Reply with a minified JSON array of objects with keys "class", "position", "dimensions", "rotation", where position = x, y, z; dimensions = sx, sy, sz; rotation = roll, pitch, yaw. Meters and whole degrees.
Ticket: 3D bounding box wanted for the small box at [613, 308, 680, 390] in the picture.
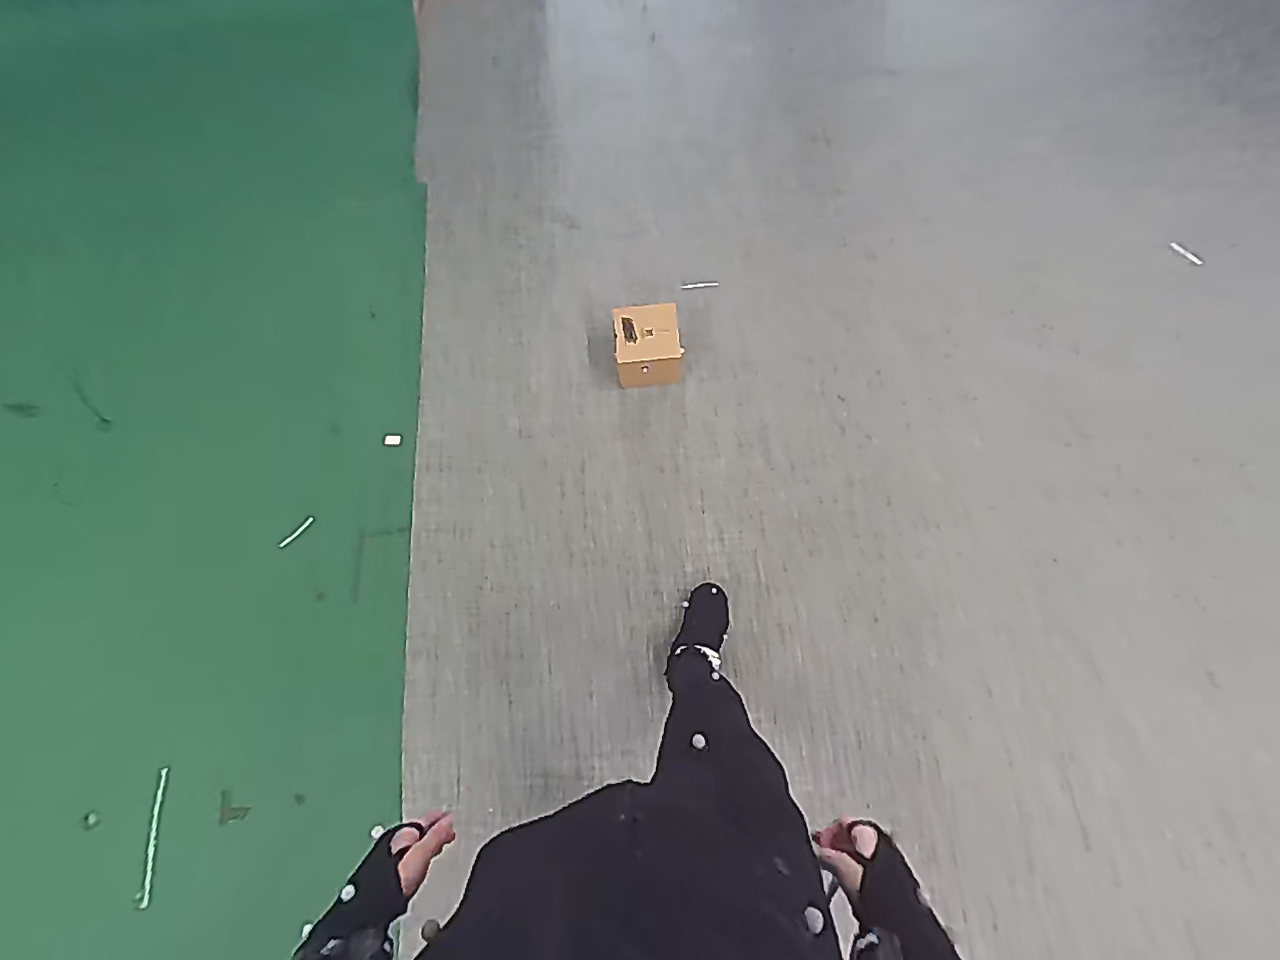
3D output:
[{"class":"small box","position":[0.022,-0.366,1.544],"dimensions":[0.179,0.176,0.168],"rotation":[-5,75,2]}]
